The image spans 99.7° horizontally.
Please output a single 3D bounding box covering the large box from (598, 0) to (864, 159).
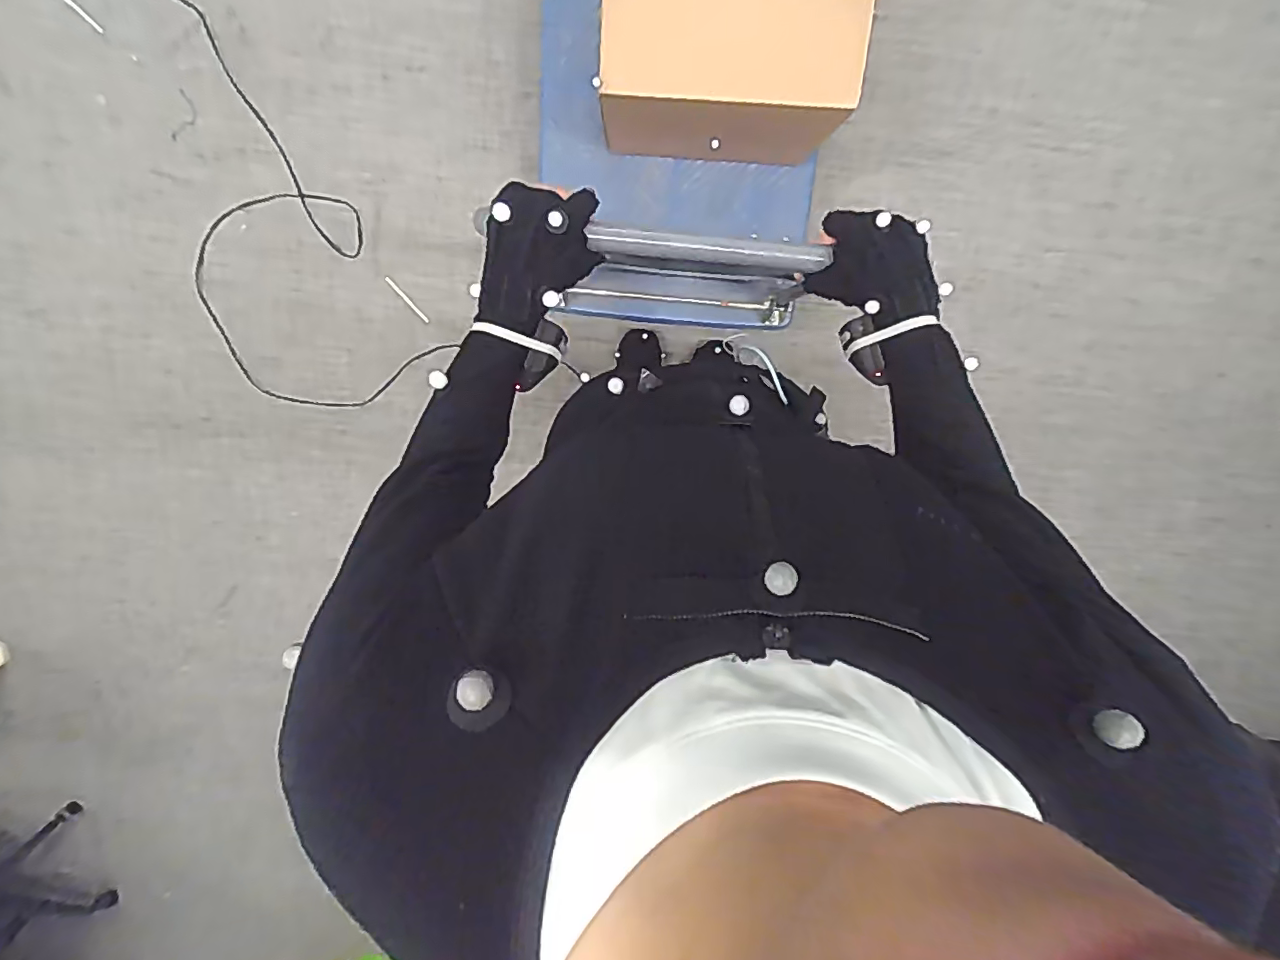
[{"bbox_3d":[0.144,-0.781,0.948,0.408,0.320,0.320,3,106,0],"label":"large box"}]
